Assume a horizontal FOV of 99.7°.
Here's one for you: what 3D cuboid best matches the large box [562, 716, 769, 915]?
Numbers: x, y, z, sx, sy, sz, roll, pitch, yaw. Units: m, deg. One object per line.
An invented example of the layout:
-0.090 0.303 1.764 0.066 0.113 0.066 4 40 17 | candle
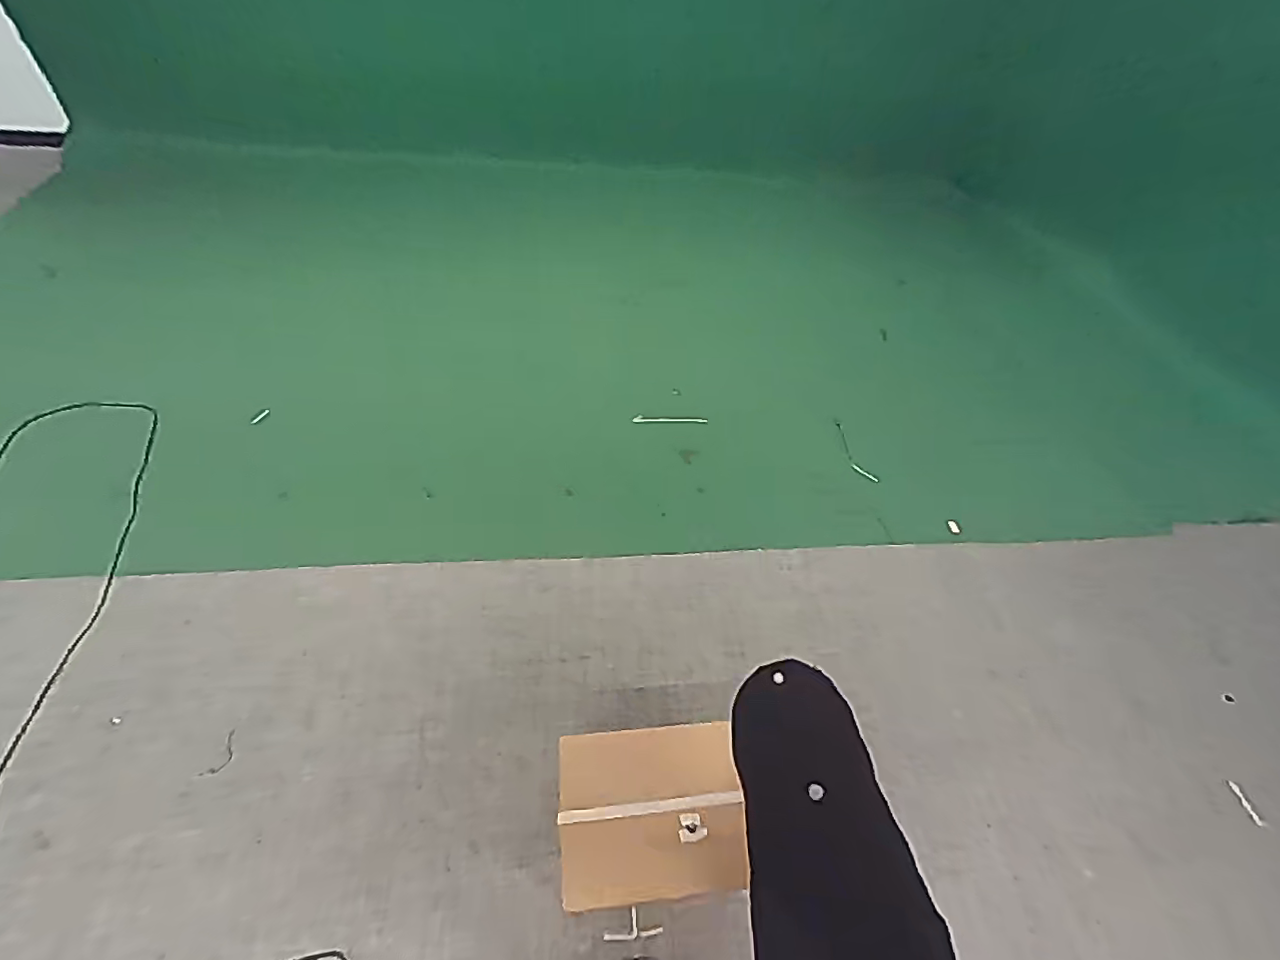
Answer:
0.031 0.782 1.261 0.408 0.320 0.320 -2 51 -9 | large box
